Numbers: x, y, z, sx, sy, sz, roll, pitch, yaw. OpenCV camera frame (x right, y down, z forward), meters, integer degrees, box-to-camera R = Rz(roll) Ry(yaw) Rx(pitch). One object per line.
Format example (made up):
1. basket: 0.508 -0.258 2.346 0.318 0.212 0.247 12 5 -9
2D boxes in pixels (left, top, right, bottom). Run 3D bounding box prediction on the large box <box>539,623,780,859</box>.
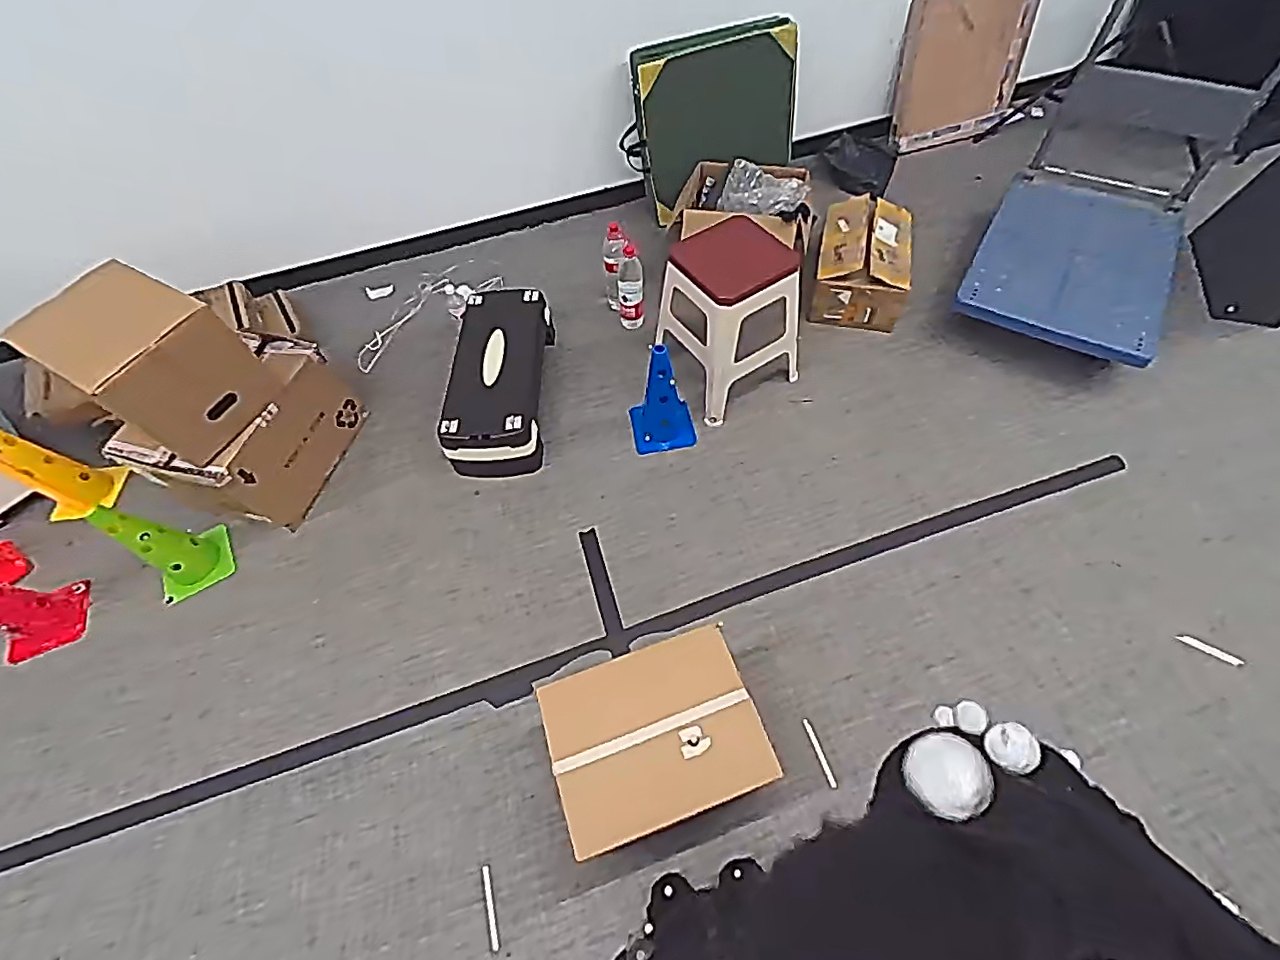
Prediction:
1. large box: 0.035 0.569 1.181 0.408 0.320 0.320 -18 59 -8
